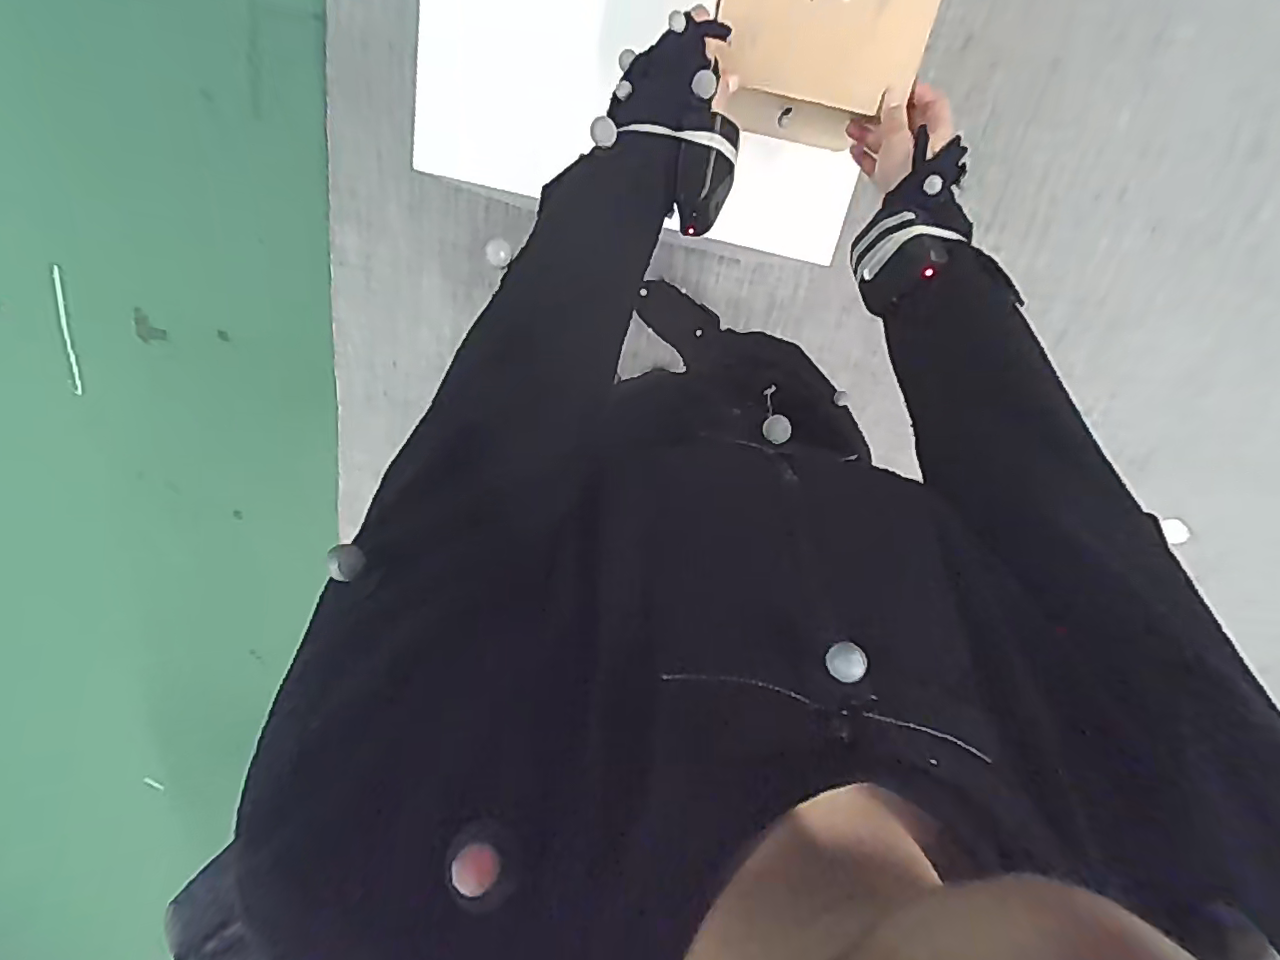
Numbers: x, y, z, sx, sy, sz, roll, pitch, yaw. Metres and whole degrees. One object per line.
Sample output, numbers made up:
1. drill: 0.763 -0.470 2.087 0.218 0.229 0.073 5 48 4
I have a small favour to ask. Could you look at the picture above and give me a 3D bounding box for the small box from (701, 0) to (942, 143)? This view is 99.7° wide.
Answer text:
1. small box: 0.158 -0.428 0.496 0.179 0.176 0.168 11 114 -2
